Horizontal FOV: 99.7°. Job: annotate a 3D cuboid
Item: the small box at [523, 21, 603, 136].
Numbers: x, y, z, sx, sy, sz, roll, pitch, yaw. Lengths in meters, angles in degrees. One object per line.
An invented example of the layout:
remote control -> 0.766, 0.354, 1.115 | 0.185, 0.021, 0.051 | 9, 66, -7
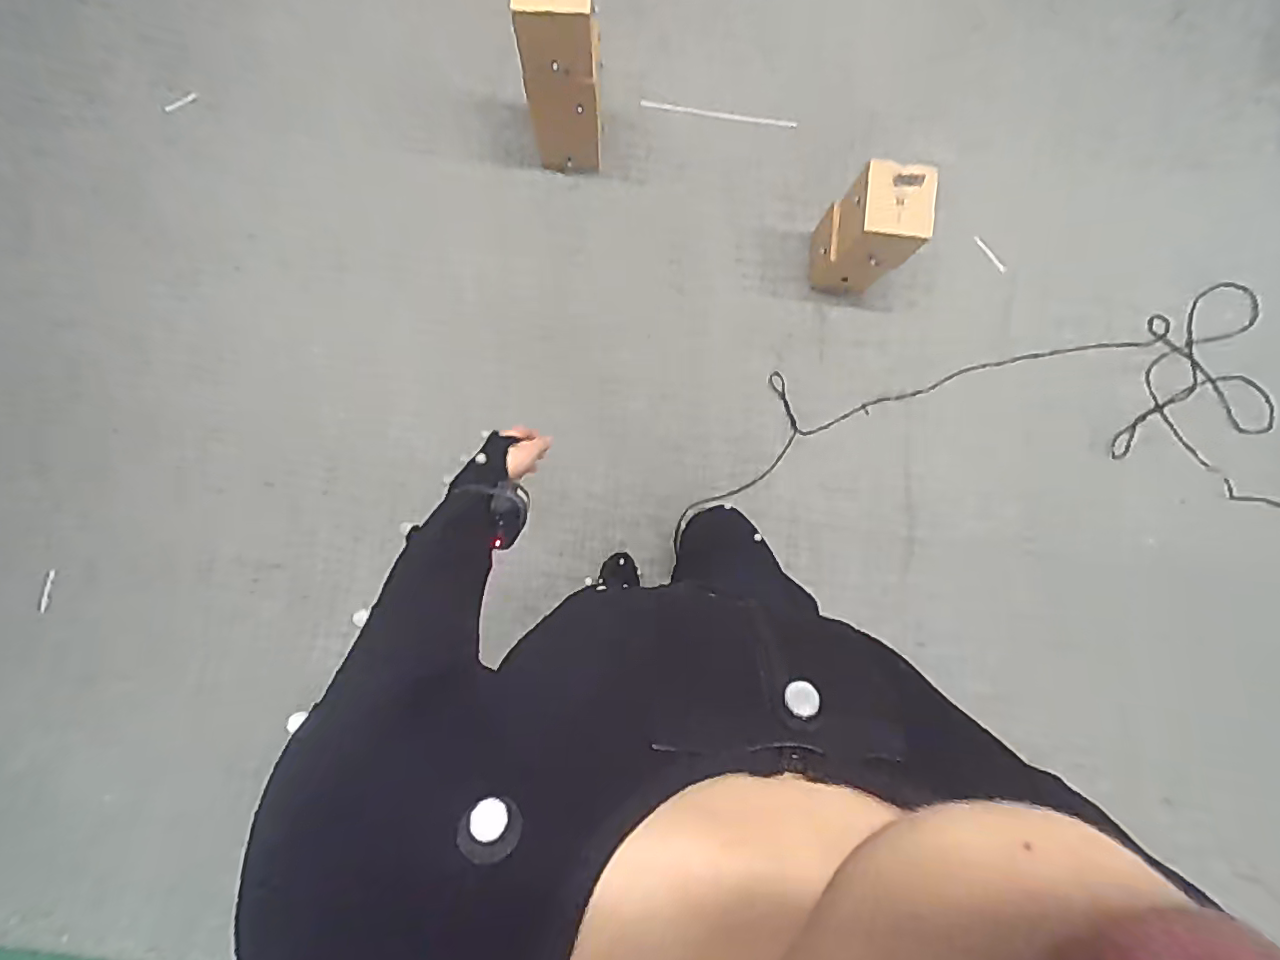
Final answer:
small box -> -0.187, -1.002, 1.363 | 0.179, 0.176, 0.168 | 3, 83, 0

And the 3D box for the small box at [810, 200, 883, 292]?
small box -> 0.585, -0.644, 1.508 | 0.168, 0.176, 0.179 | 5, 85, -2

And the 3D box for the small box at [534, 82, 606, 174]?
small box -> -0.191, -0.997, 1.526 | 0.179, 0.176, 0.168 | 6, 84, -1

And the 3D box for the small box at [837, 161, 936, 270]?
small box -> 0.605, -0.651, 1.345 | 0.168, 0.176, 0.179 | 6, 86, -1
